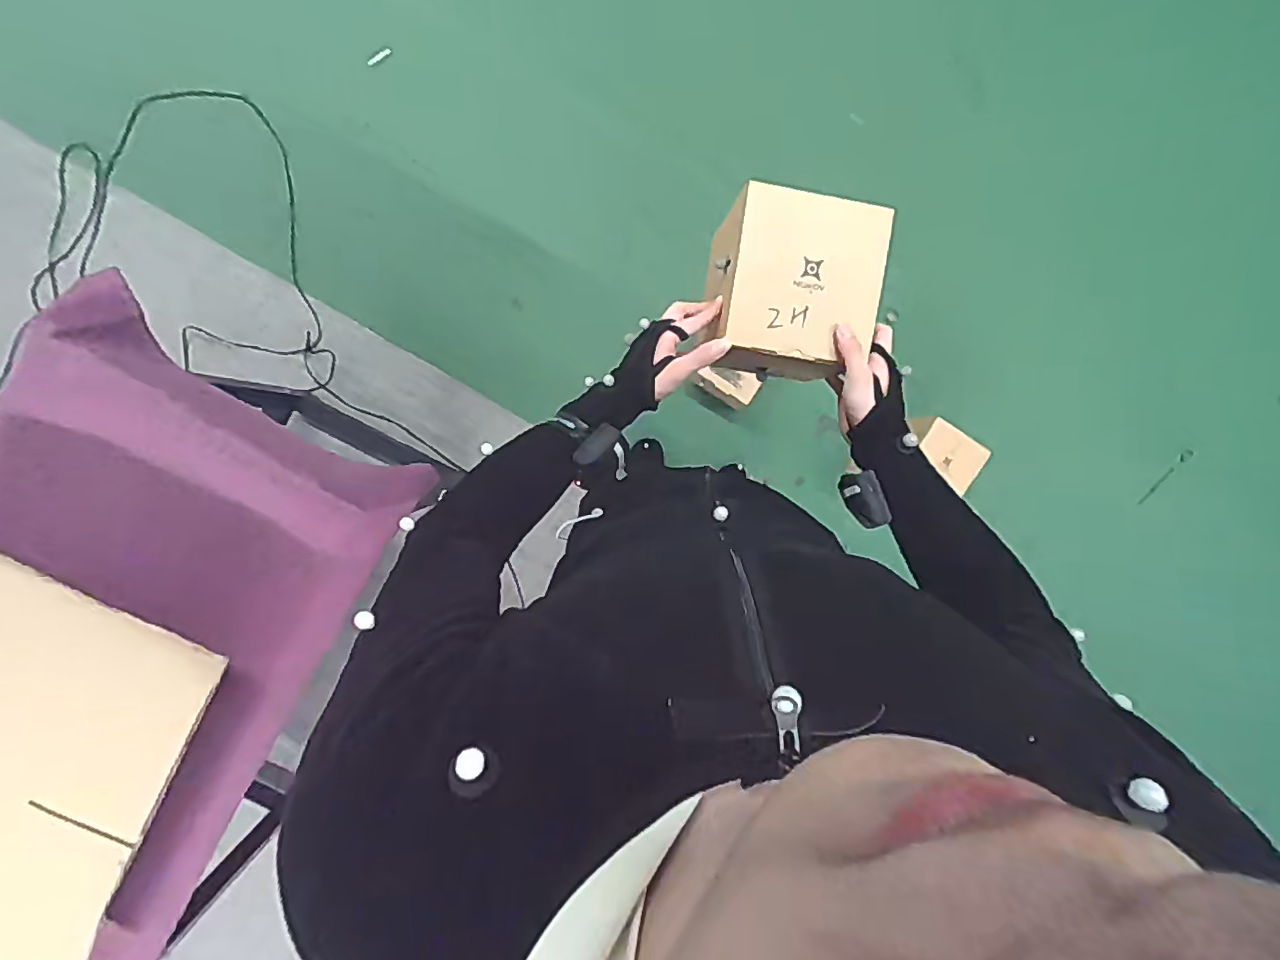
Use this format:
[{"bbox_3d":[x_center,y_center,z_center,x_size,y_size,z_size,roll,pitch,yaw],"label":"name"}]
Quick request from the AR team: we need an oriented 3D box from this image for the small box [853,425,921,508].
[{"bbox_3d":[0.746,-0.042,1.553,0.168,0.176,0.179,32,93,-3],"label":"small box"}]

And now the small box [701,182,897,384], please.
[{"bbox_3d":[0.177,-0.222,0.657,0.168,0.176,0.179,8,94,-5],"label":"small box"}]

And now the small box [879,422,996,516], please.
[{"bbox_3d":[0.749,-0.031,1.389,0.168,0.176,0.179,34,93,-4],"label":"small box"}]
